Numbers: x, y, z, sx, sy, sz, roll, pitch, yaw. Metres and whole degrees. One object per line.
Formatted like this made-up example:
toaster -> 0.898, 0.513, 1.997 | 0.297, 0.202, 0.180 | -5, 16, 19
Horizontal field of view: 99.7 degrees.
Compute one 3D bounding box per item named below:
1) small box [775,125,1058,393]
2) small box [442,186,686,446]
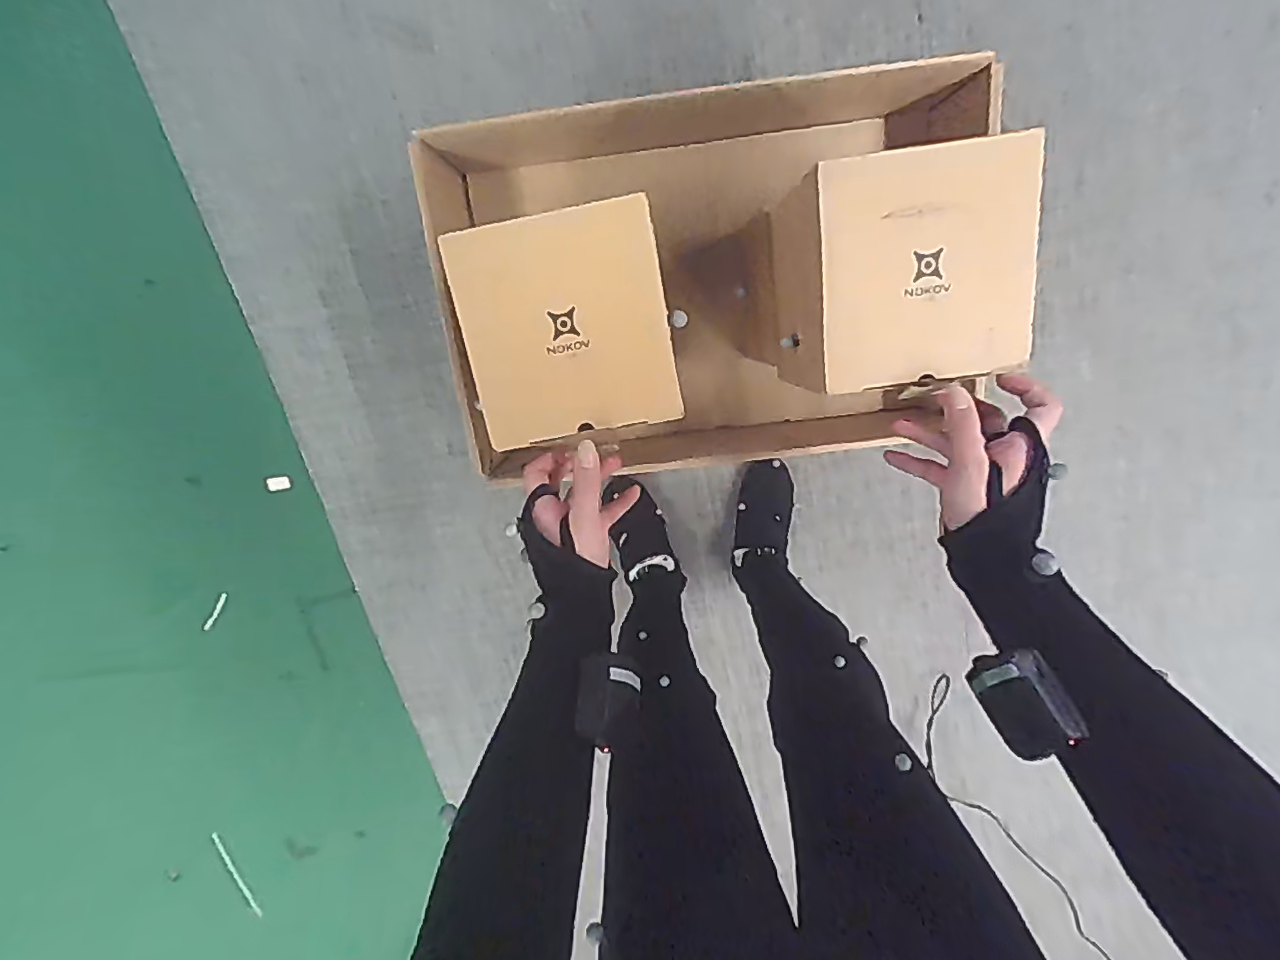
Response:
small box -> 0.222, -0.180, 0.482 | 0.168, 0.176, 0.179 | -6, 104, 2
small box -> -0.057, -0.143, 0.501 | 0.168, 0.176, 0.179 | -10, 106, 3
